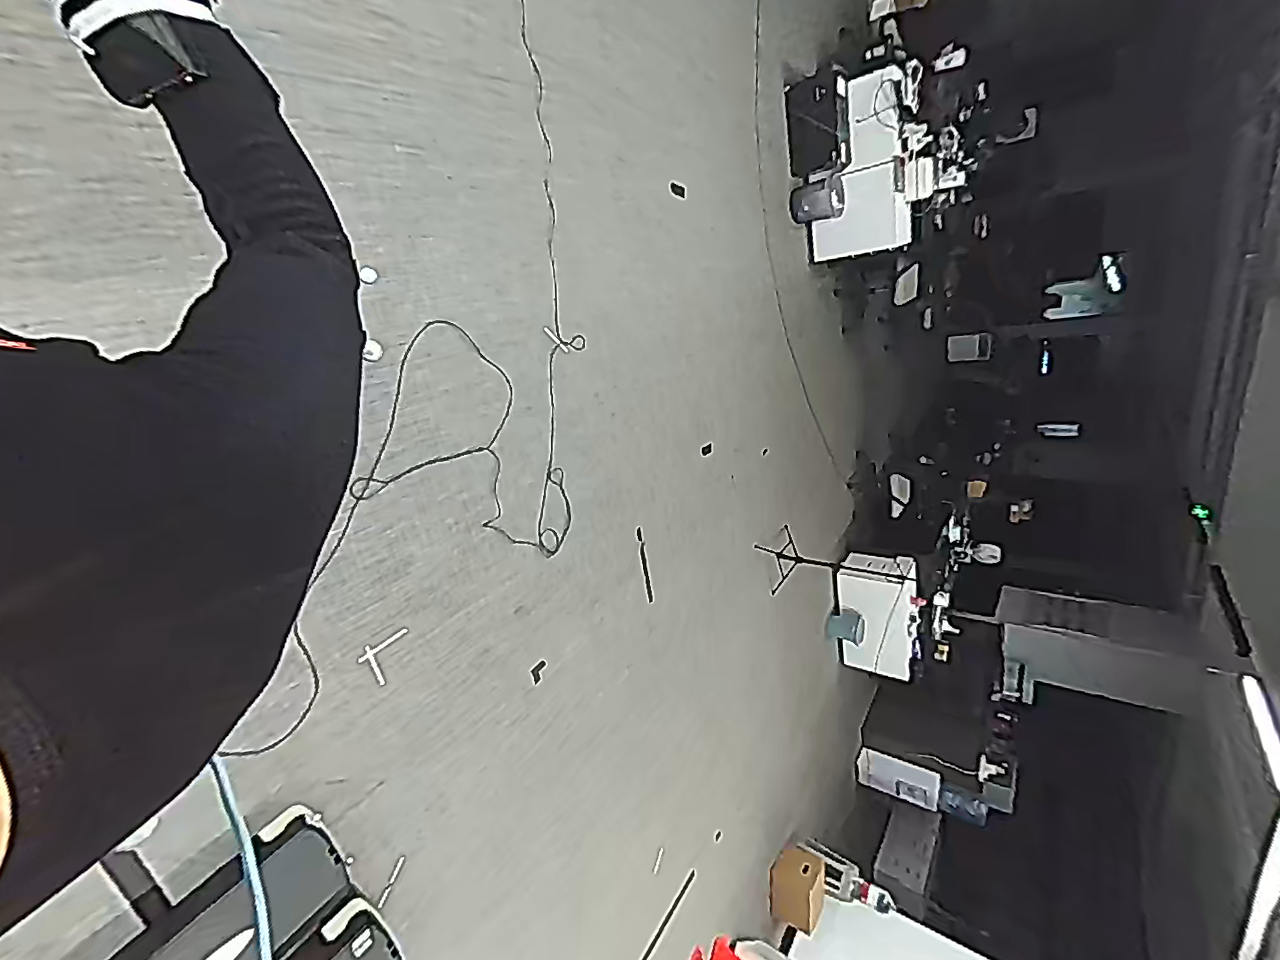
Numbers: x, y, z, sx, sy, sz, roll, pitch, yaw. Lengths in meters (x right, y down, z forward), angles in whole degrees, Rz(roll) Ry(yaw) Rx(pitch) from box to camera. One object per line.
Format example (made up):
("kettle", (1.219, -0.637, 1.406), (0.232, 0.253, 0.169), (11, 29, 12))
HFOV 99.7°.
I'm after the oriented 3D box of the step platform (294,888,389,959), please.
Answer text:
("step platform", (-0.953, 1.392, 1.280), (0.684, 0.204, 0.286), (-35, 121, -44))
